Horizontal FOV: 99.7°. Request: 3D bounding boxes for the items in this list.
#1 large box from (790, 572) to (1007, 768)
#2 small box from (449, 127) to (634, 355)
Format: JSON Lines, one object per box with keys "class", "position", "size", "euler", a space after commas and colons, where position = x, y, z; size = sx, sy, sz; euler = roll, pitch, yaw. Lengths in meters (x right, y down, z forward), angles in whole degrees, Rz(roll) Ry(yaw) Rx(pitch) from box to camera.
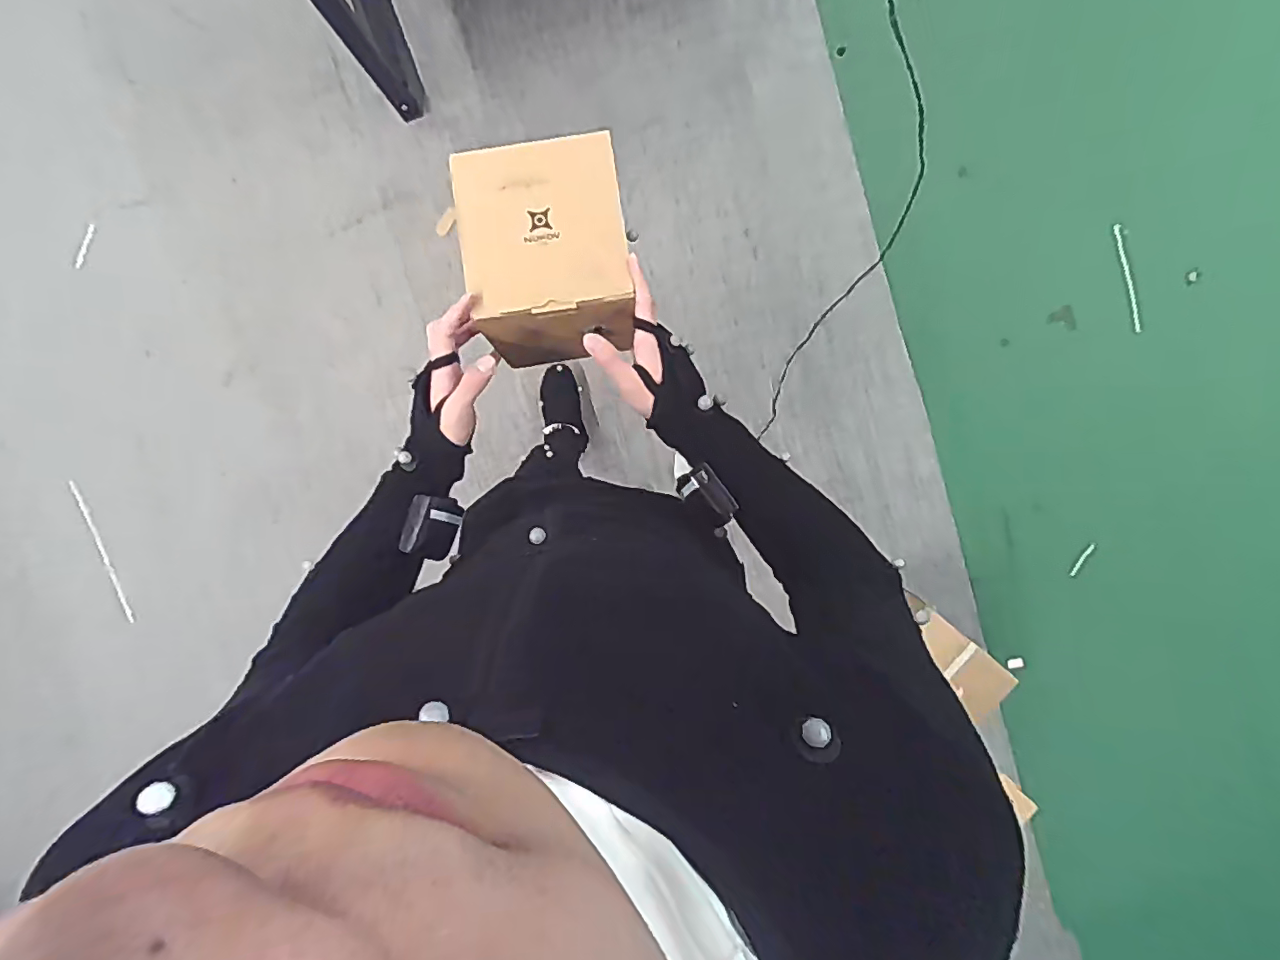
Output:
{"class": "large box", "position": [0.698, 0.535, 1.529], "size": [0.320, 0.320, 0.408], "euler": [39, 94, -4]}
{"class": "small box", "position": [-0.099, -0.252, 0.614], "size": [0.168, 0.176, 0.179], "euler": [-8, 85, 0]}
